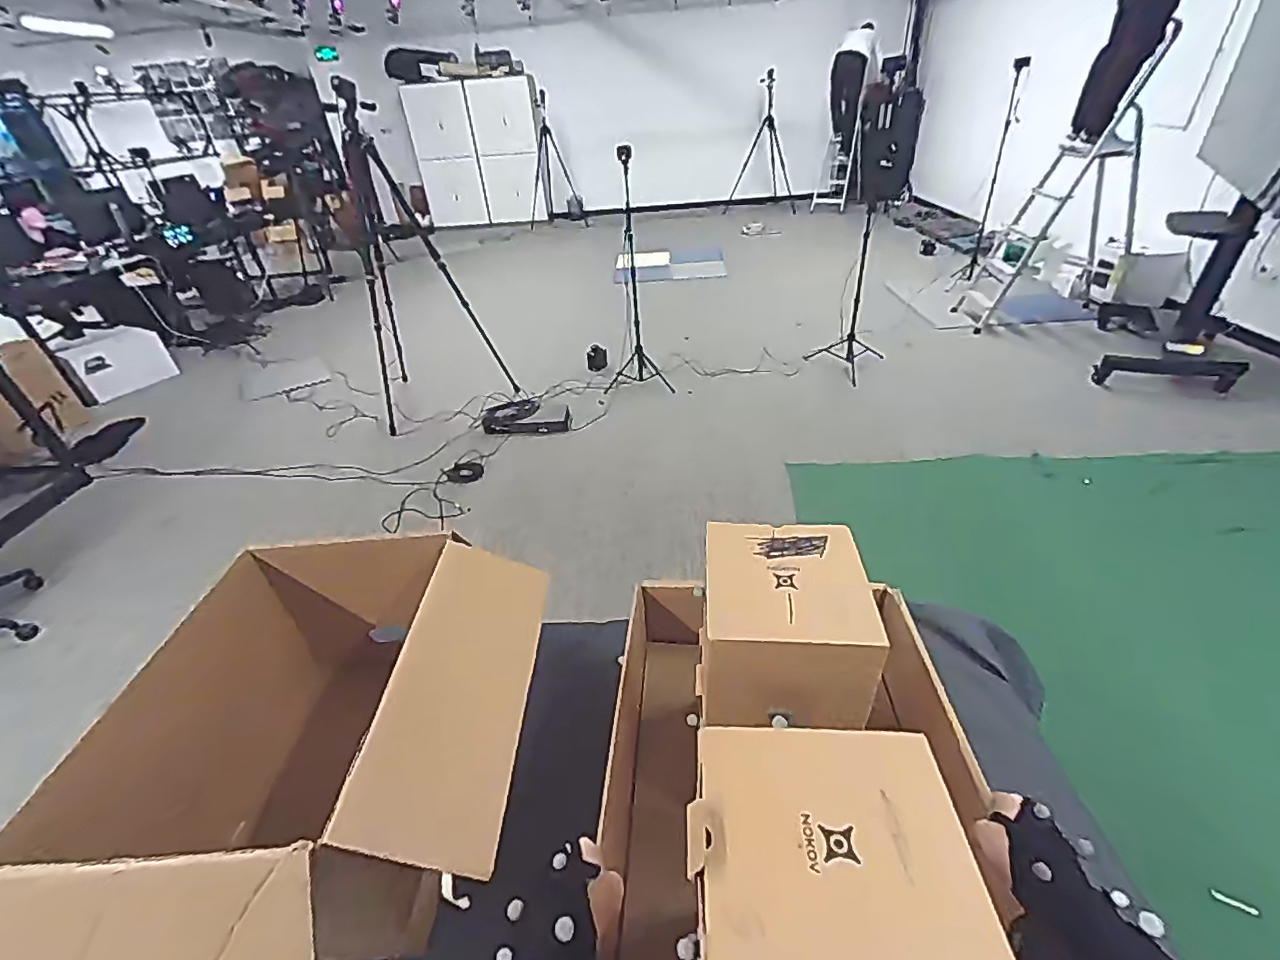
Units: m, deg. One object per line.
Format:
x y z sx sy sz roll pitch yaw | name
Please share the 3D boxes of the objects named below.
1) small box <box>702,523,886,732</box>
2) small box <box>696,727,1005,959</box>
0.157 0.171 0.616 0.168 0.176 0.179 1 36 7 | small box
0.131 0.313 0.407 0.179 0.176 0.168 0 33 5 | small box
